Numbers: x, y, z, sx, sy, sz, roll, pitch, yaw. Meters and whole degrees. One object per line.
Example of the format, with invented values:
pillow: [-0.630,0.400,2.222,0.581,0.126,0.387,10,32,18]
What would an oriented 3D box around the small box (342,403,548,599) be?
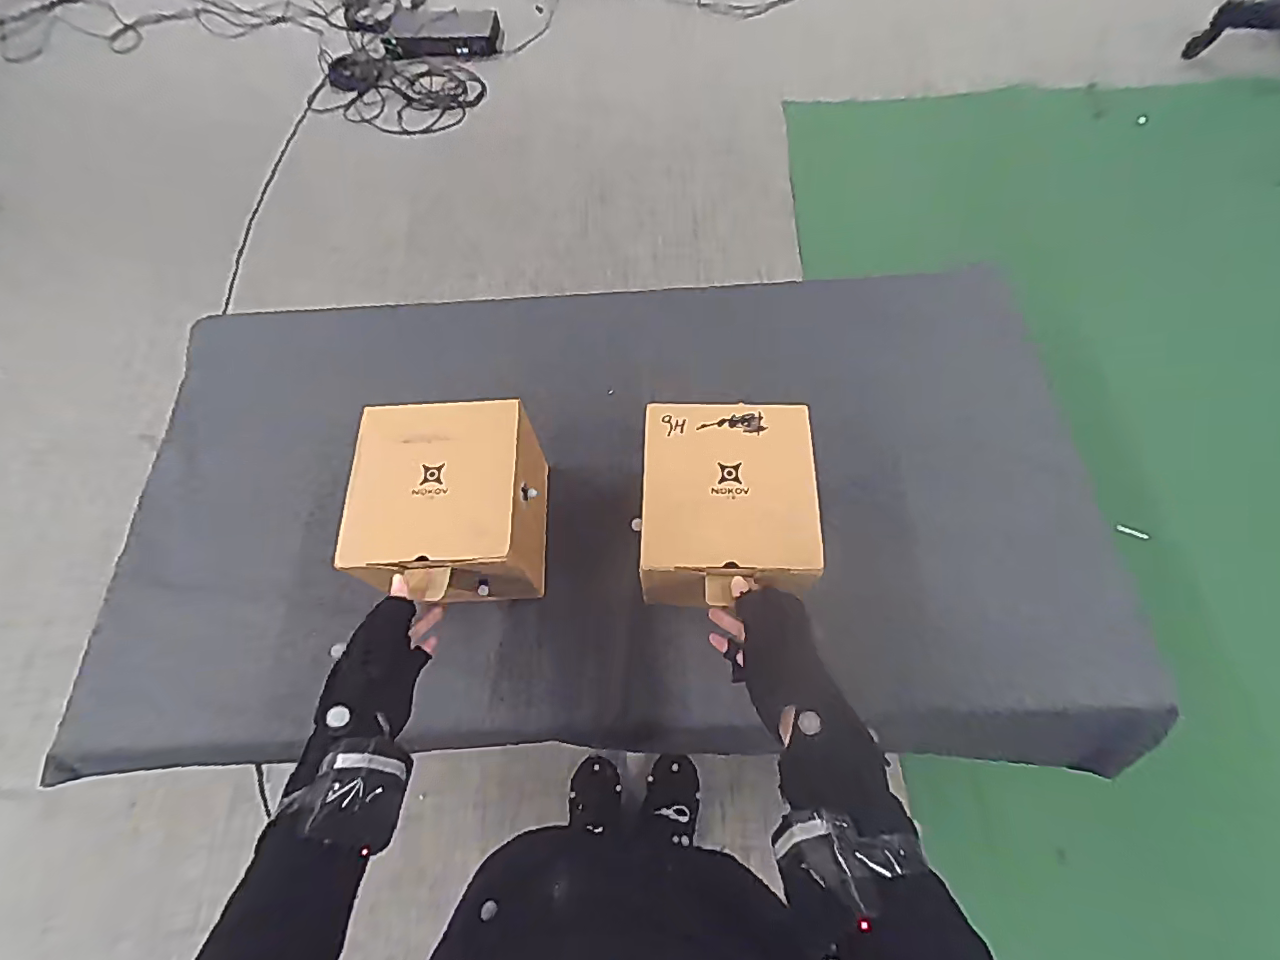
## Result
small box: [-0.201,0.034,0.614,0.168,0.176,0.179,-3,64,0]
